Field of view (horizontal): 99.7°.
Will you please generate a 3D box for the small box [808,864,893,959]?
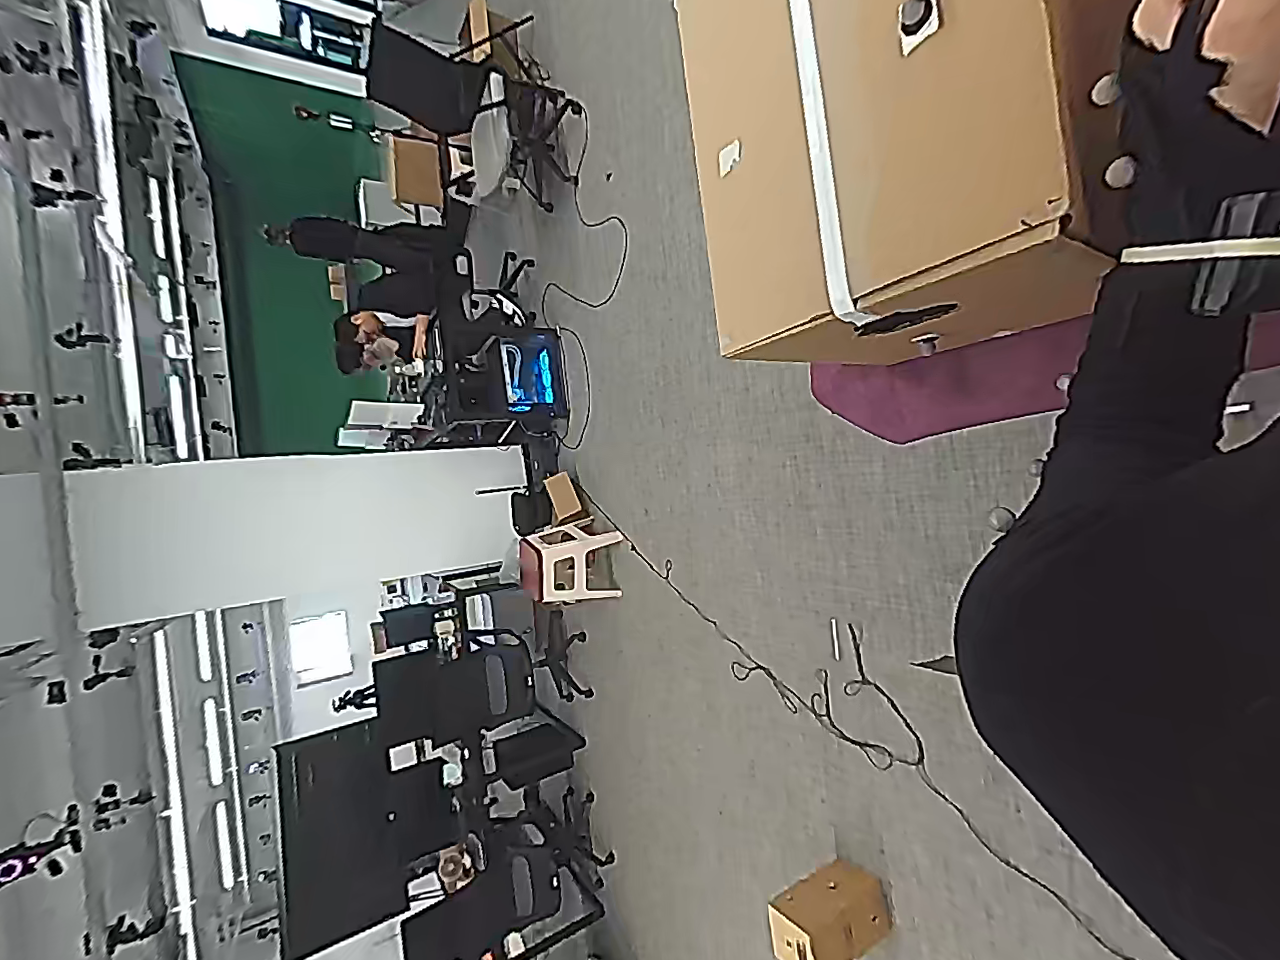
[{"bbox_3d":[0.678,1.385,1.744,0.179,0.176,0.168,-21,78,58],"label":"small box"}]
